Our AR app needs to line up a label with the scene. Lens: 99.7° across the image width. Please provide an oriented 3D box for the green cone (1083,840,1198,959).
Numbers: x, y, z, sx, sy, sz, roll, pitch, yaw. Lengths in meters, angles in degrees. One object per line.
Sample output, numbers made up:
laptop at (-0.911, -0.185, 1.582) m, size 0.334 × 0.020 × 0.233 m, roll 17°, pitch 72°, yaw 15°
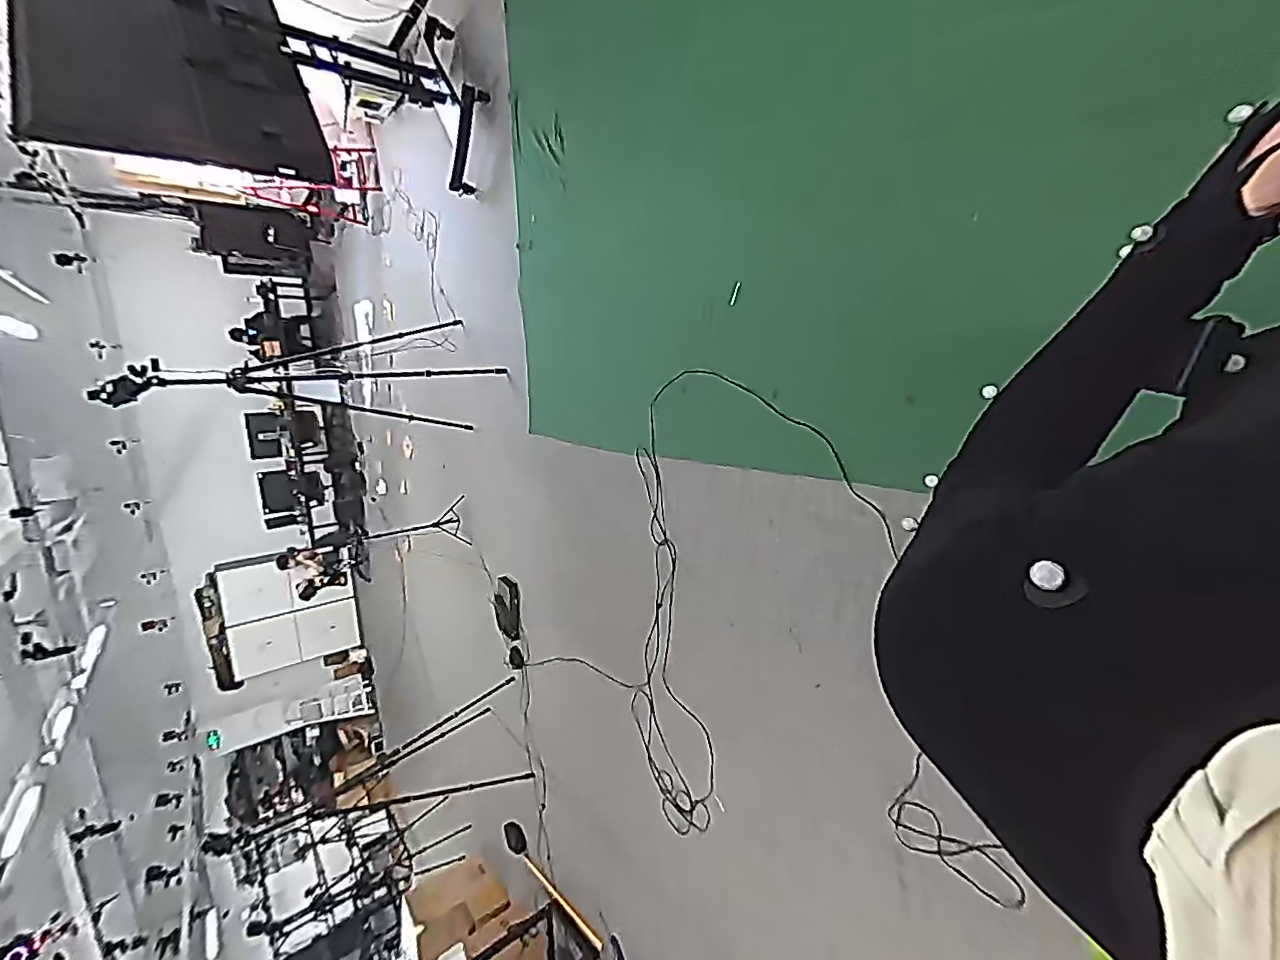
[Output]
green cone at (1.110, 1.062, 1.249) m, size 0.202 × 0.368 × 0.200 m, roll 13°, pitch 108°, yaw 50°
